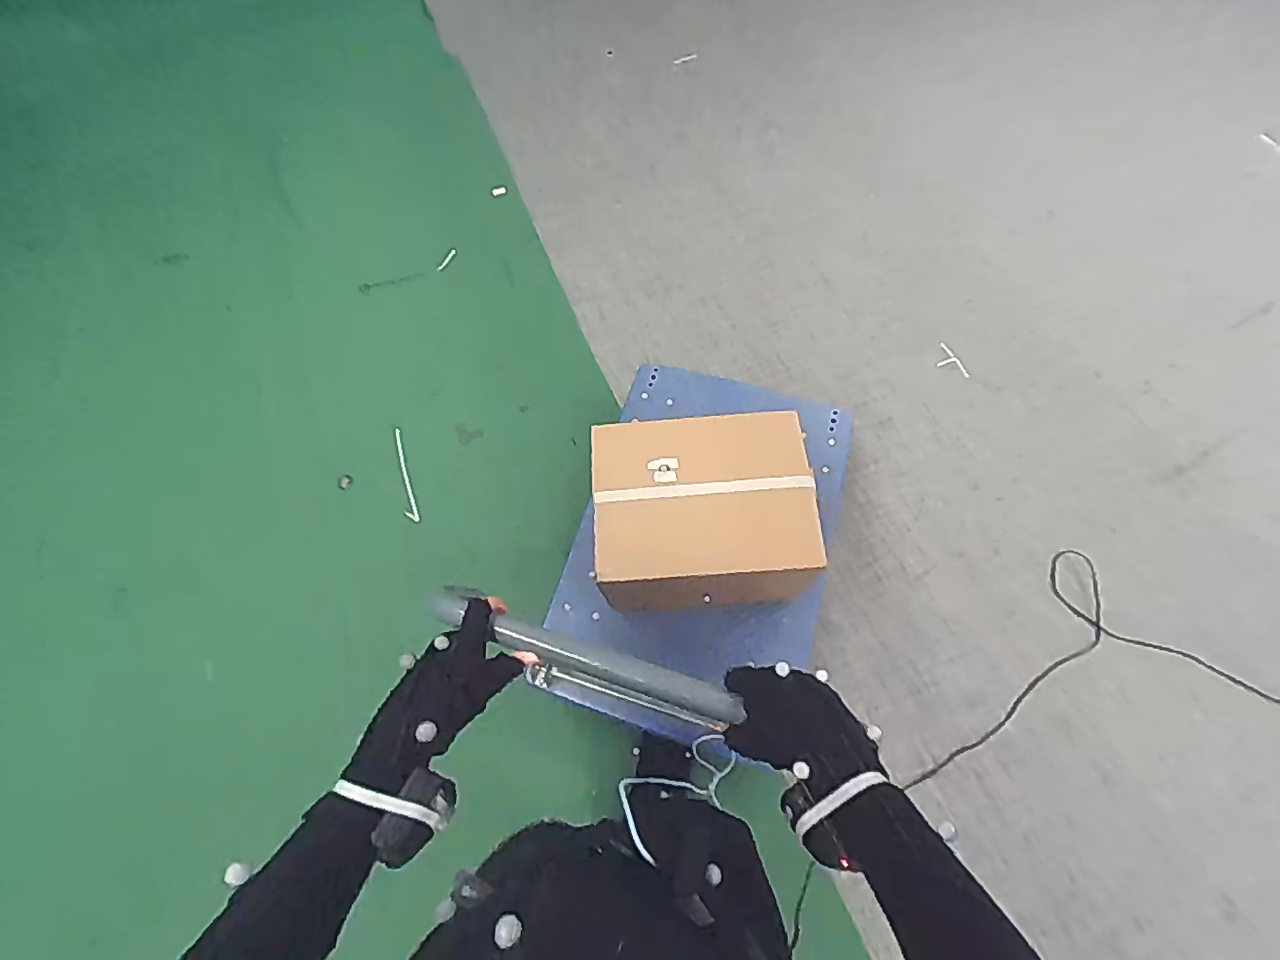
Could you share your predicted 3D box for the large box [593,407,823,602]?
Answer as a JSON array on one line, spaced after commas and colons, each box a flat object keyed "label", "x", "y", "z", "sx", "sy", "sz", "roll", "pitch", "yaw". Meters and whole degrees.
[{"label": "large box", "x": 0.127, "y": 0.070, "z": 1.145, "sx": 0.408, "sy": 0.320, "sz": 0.320, "roll": -5, "pitch": 67, "yaw": 3}]
